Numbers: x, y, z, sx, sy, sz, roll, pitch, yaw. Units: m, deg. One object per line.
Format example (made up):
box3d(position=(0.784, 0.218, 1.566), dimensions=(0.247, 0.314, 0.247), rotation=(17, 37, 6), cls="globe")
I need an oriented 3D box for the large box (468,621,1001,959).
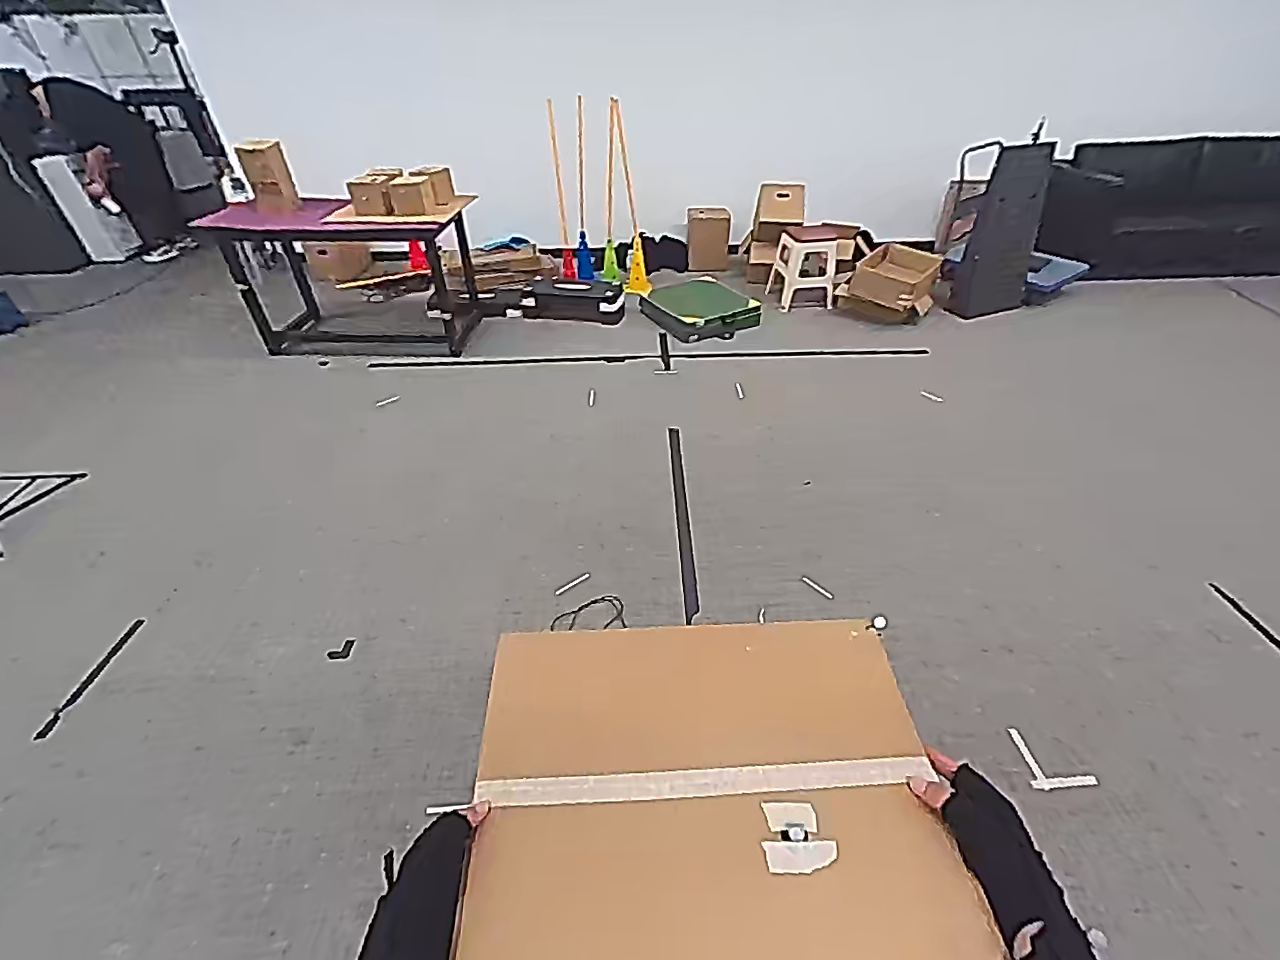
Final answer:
box3d(position=(0.062, 0.379, 0.593), dimensions=(0.408, 0.320, 0.320), rotation=(-2, 45, -2), cls="large box")
